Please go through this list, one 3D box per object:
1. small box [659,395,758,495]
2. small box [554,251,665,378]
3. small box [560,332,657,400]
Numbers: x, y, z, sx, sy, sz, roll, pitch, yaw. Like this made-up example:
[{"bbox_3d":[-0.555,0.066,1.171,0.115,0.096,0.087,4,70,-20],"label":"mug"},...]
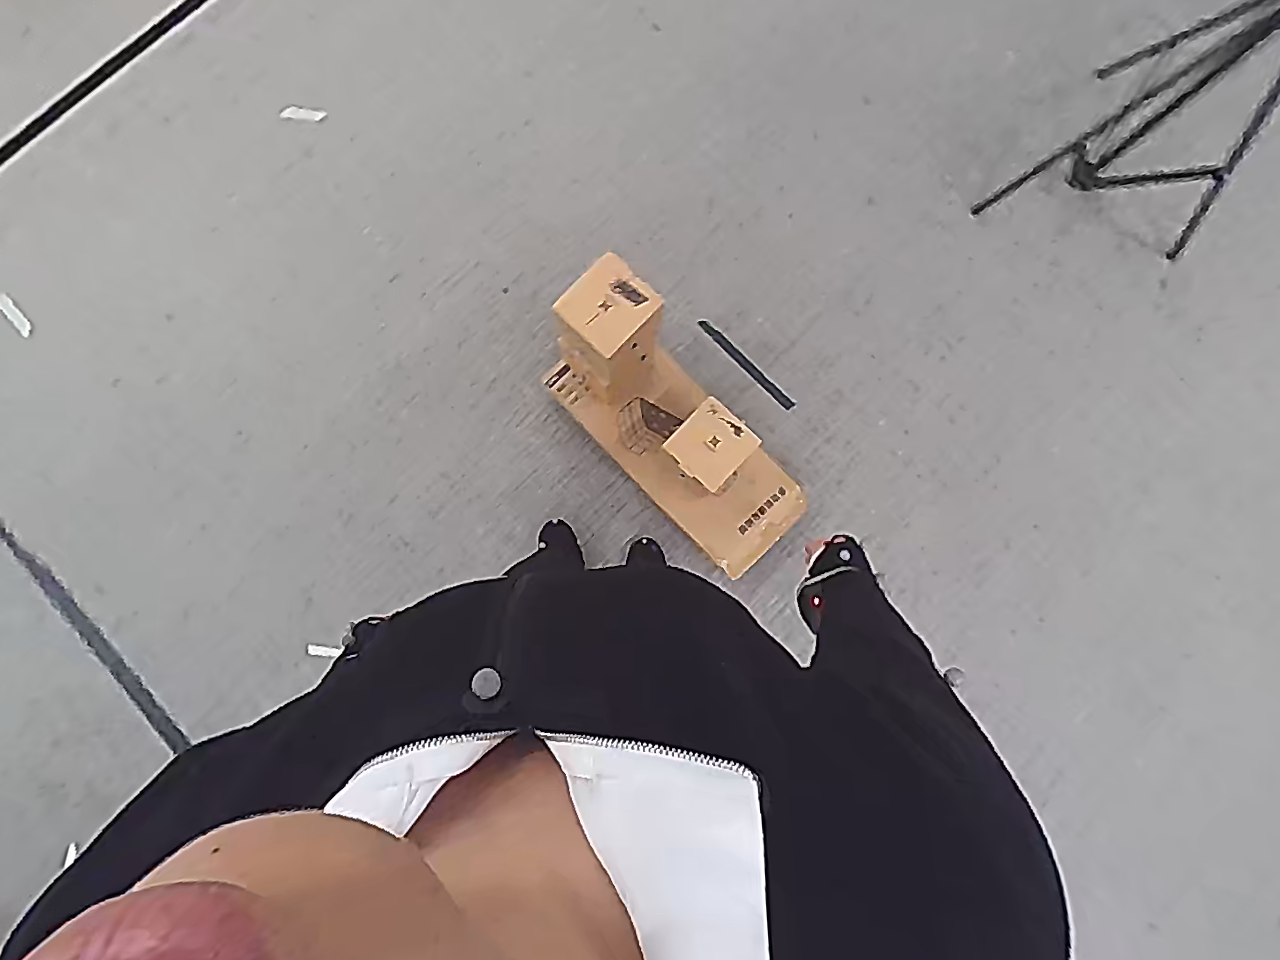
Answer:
[{"bbox_3d":[0.164,-0.077,1.342,0.168,0.176,0.179,45,86,5],"label":"small box"},{"bbox_3d":[-0.066,-0.358,1.200,0.168,0.176,0.179,45,86,3],"label":"small box"},{"bbox_3d":[-0.078,-0.330,1.362,0.179,0.176,0.168,-44,87,-5],"label":"small box"}]
